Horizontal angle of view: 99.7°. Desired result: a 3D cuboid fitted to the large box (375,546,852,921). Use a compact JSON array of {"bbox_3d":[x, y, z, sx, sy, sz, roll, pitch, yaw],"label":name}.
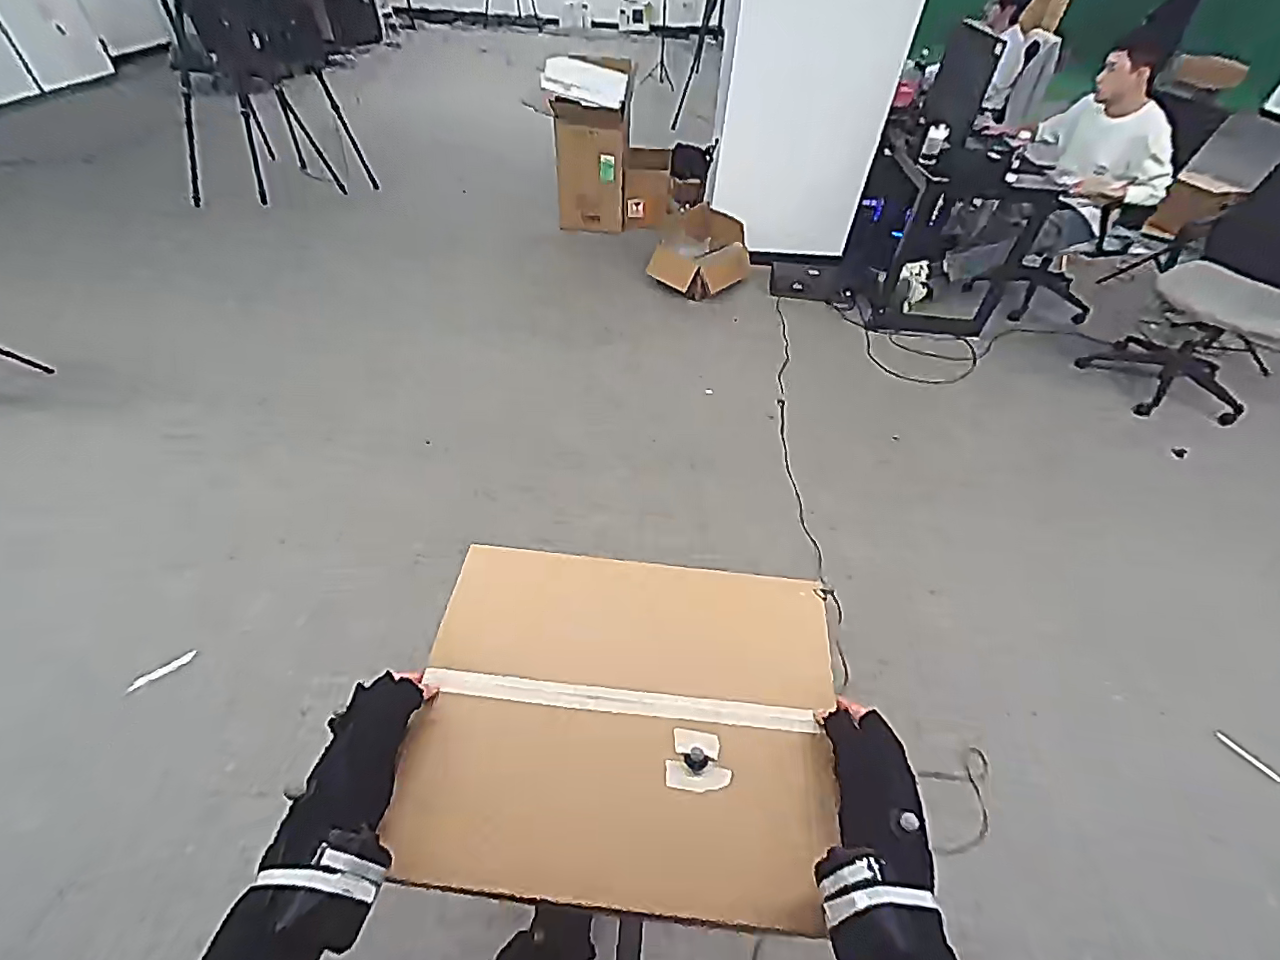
[{"bbox_3d":[-0.018,0.307,0.649,0.408,0.320,0.320,6,51,2],"label":"large box"}]
